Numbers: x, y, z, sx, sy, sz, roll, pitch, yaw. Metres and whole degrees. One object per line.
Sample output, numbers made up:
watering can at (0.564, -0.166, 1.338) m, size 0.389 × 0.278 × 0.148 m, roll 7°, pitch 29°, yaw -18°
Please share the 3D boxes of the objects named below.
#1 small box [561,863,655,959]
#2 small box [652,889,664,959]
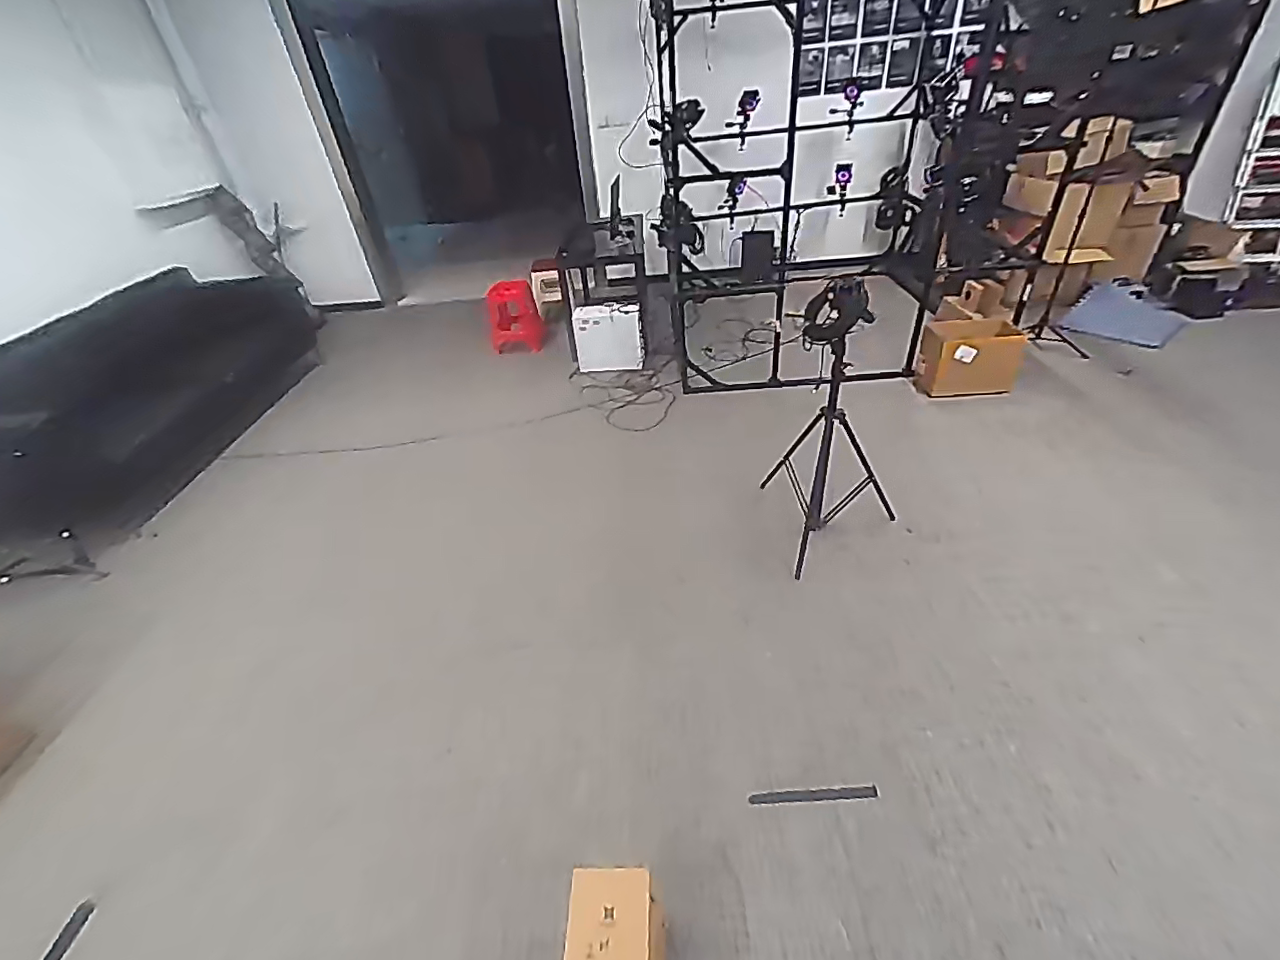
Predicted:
small box at (-0.059, 0.931, 1.126) m, size 0.168 × 0.176 × 0.179 m, roll -4°, pitch 37°, yaw 5°
small box at (-0.036, 1.059, 1.225) m, size 0.168 × 0.176 × 0.179 m, roll -3°, pitch 36°, yaw 6°
